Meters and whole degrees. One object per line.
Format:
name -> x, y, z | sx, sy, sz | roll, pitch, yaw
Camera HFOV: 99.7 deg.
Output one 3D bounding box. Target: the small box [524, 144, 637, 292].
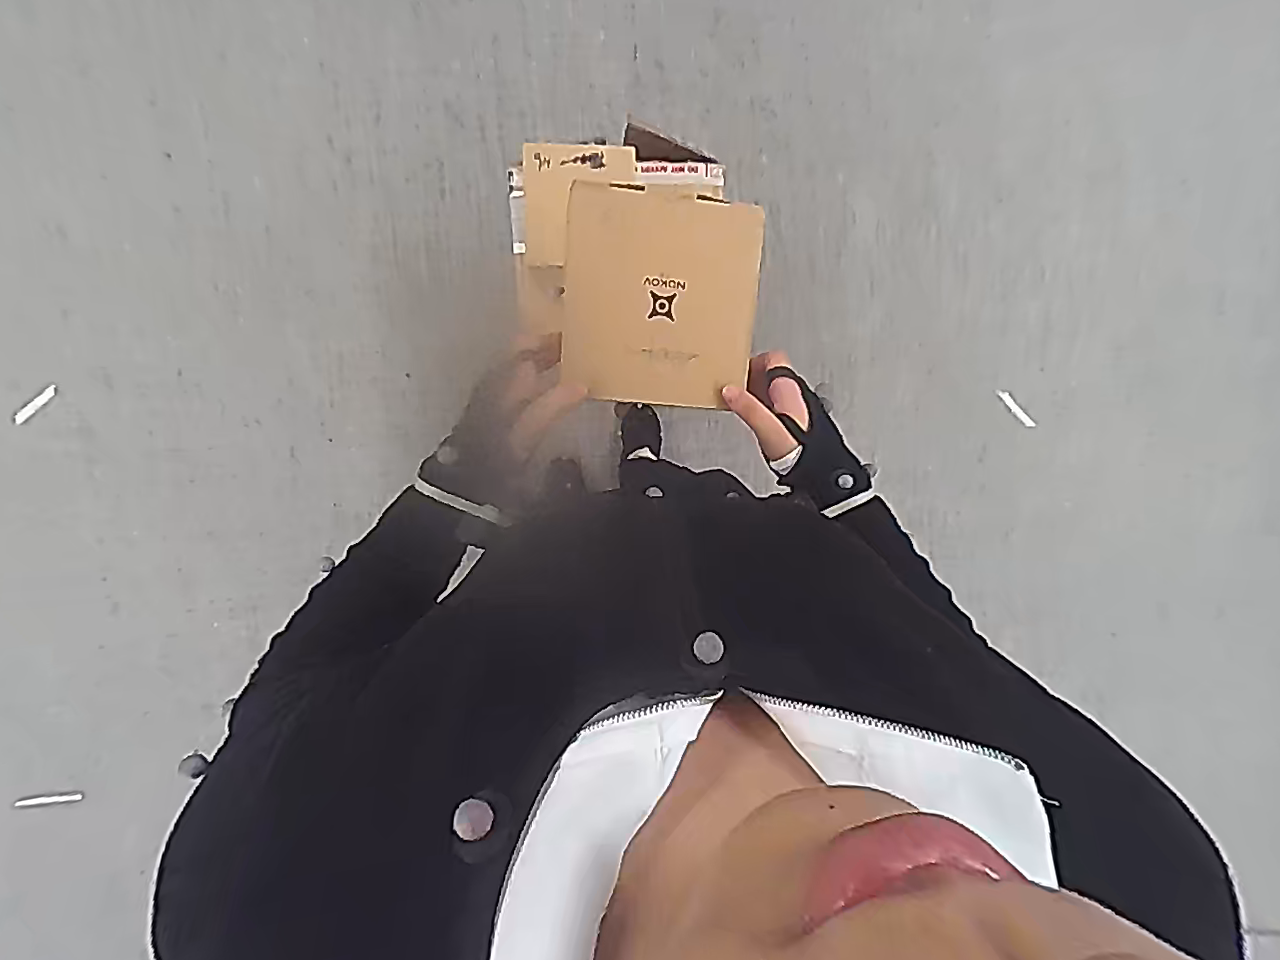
small box -> -0.091, -0.408, 0.872 | 0.168, 0.176, 0.179 | 0, 97, -4
